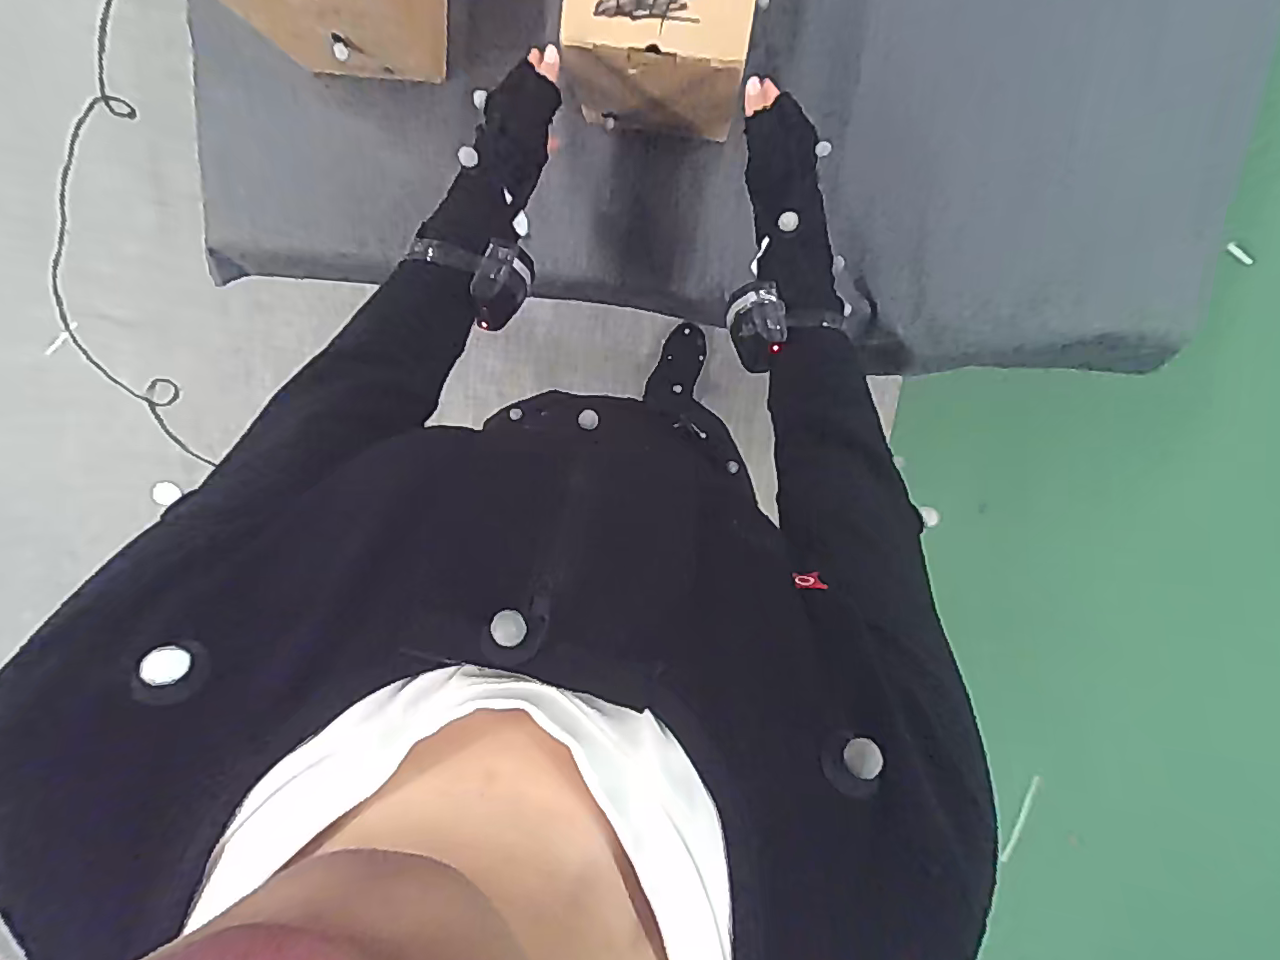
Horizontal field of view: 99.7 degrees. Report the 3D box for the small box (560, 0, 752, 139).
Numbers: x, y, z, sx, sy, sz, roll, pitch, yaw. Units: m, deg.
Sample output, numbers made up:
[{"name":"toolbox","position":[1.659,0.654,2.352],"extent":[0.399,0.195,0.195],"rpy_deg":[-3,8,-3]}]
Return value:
[{"name":"small box","position":[0.026,-0.470,0.536],"extent":[0.168,0.176,0.179],"rpy_deg":[9,102,2]}]
